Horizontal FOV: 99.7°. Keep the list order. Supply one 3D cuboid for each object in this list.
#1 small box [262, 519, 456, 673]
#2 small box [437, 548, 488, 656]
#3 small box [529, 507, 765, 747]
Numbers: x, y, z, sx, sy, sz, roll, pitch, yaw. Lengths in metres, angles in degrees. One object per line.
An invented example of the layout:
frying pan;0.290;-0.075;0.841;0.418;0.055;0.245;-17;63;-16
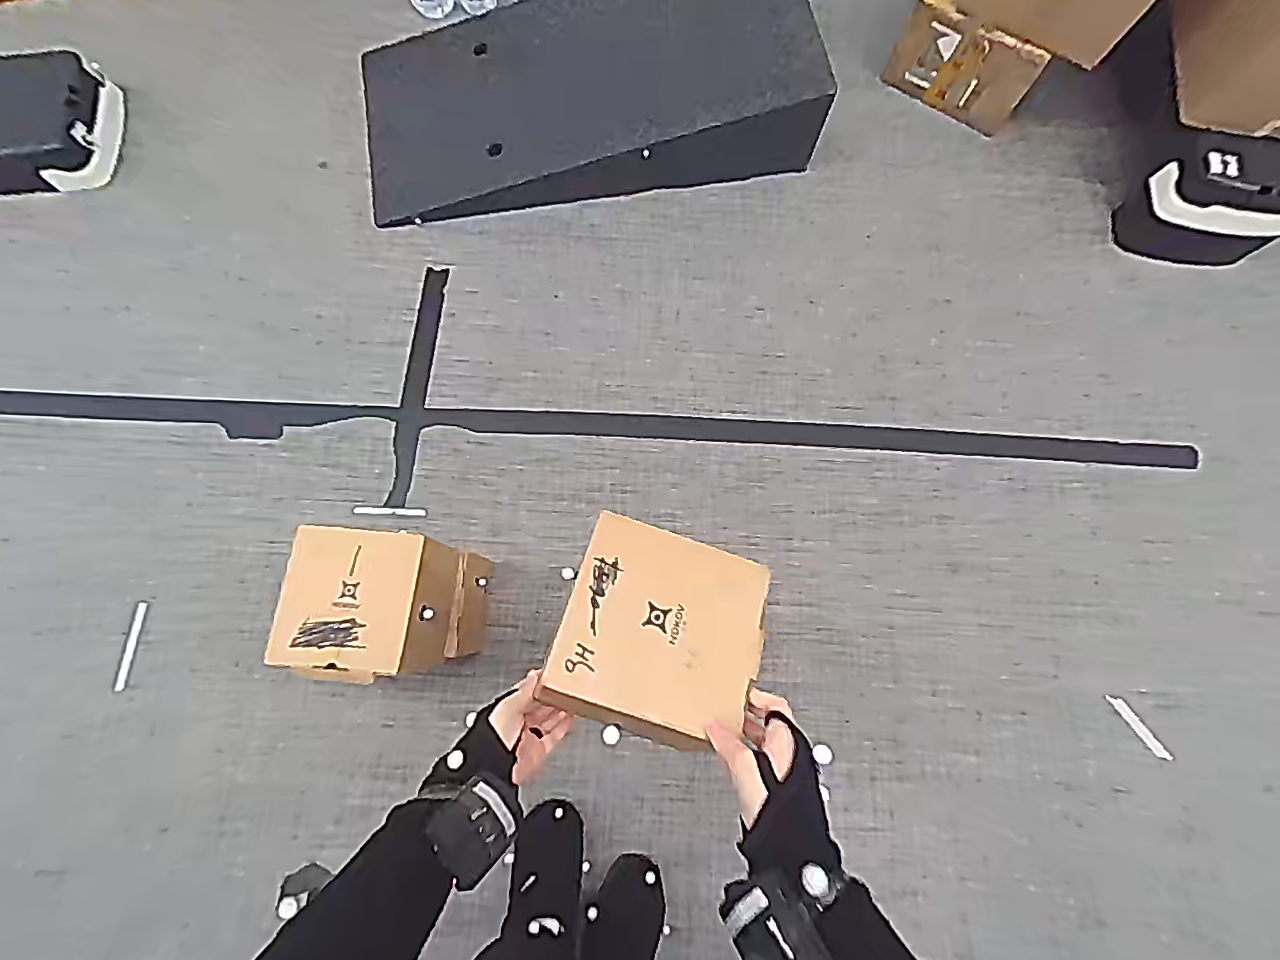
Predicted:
small box;-0.369;0.161;0.746;0.168;0.176;0.179;6;74;-1
small box;-0.364;0.199;0.906;0.179;0.176;0.168;3;76;-1
small box;0.000;0.156;0.550;0.179;0.176;0.168;21;61;-4
